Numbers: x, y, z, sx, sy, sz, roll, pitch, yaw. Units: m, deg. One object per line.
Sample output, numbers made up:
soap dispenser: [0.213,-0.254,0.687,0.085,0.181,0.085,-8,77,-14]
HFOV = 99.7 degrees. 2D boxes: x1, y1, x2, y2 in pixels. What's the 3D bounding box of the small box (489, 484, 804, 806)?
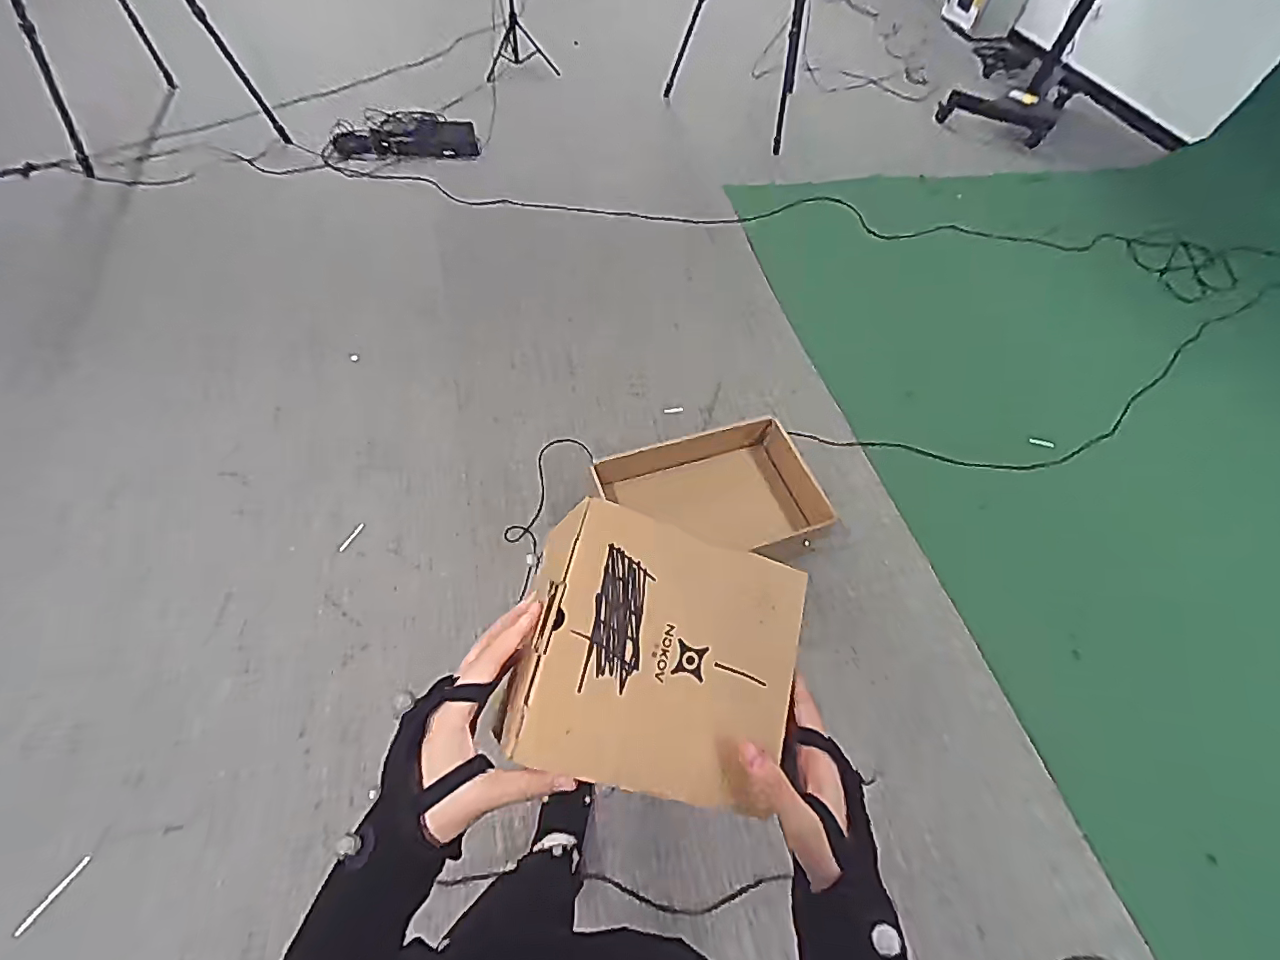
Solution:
small box: [-0.005,0.125,0.422,0.179,0.176,0.168,22,69,-15]
